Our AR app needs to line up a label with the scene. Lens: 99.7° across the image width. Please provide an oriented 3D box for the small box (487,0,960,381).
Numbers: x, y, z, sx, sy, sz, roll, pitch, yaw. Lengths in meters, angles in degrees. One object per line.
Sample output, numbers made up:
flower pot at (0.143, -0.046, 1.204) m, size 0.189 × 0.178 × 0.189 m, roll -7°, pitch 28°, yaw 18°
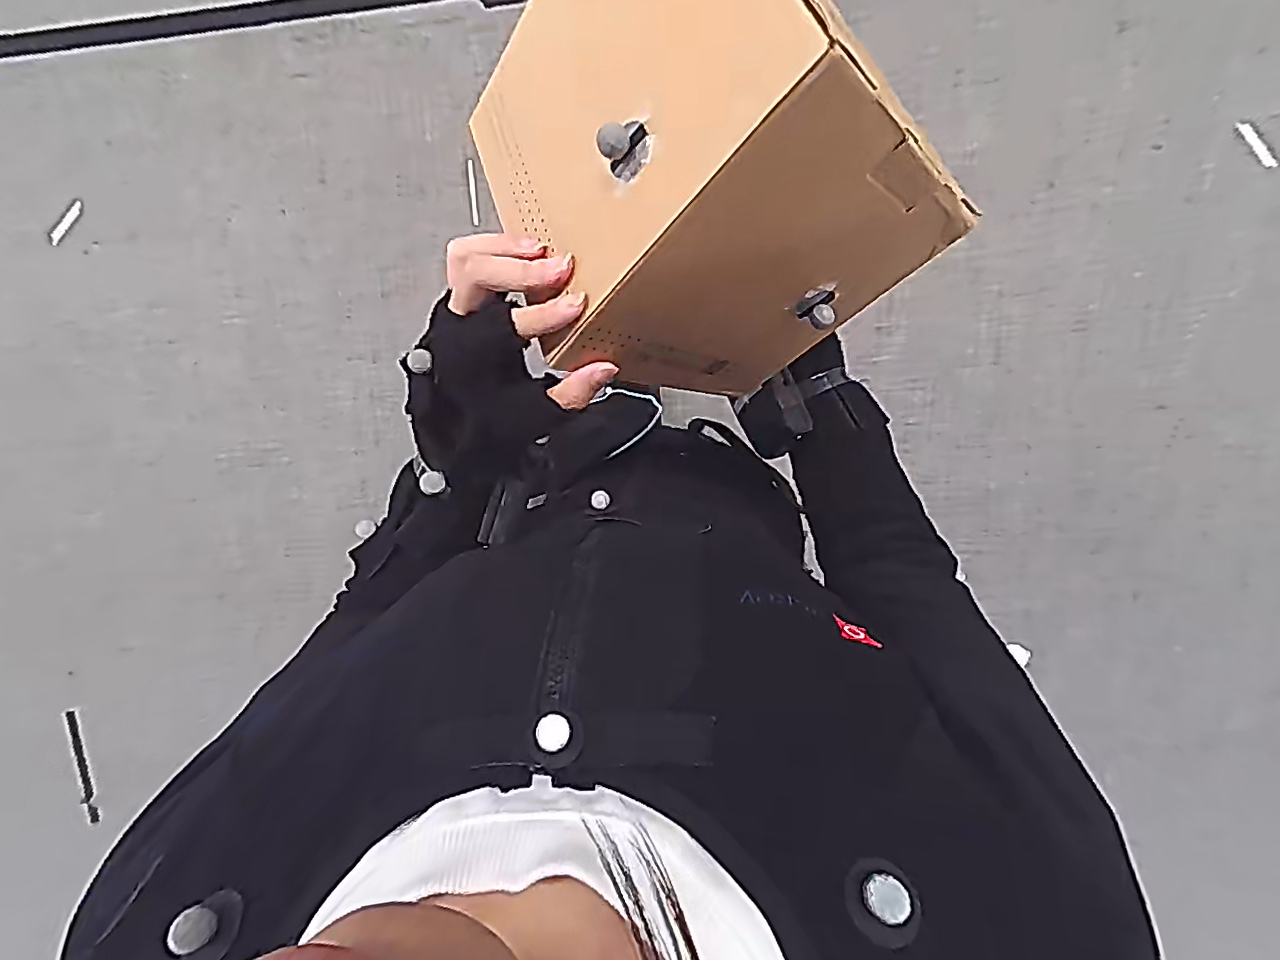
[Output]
small box at (0.036, -0.178, 0.310) m, size 0.176 × 0.168 × 0.179 m, roll -36°, pitch 65°, yaw 39°
